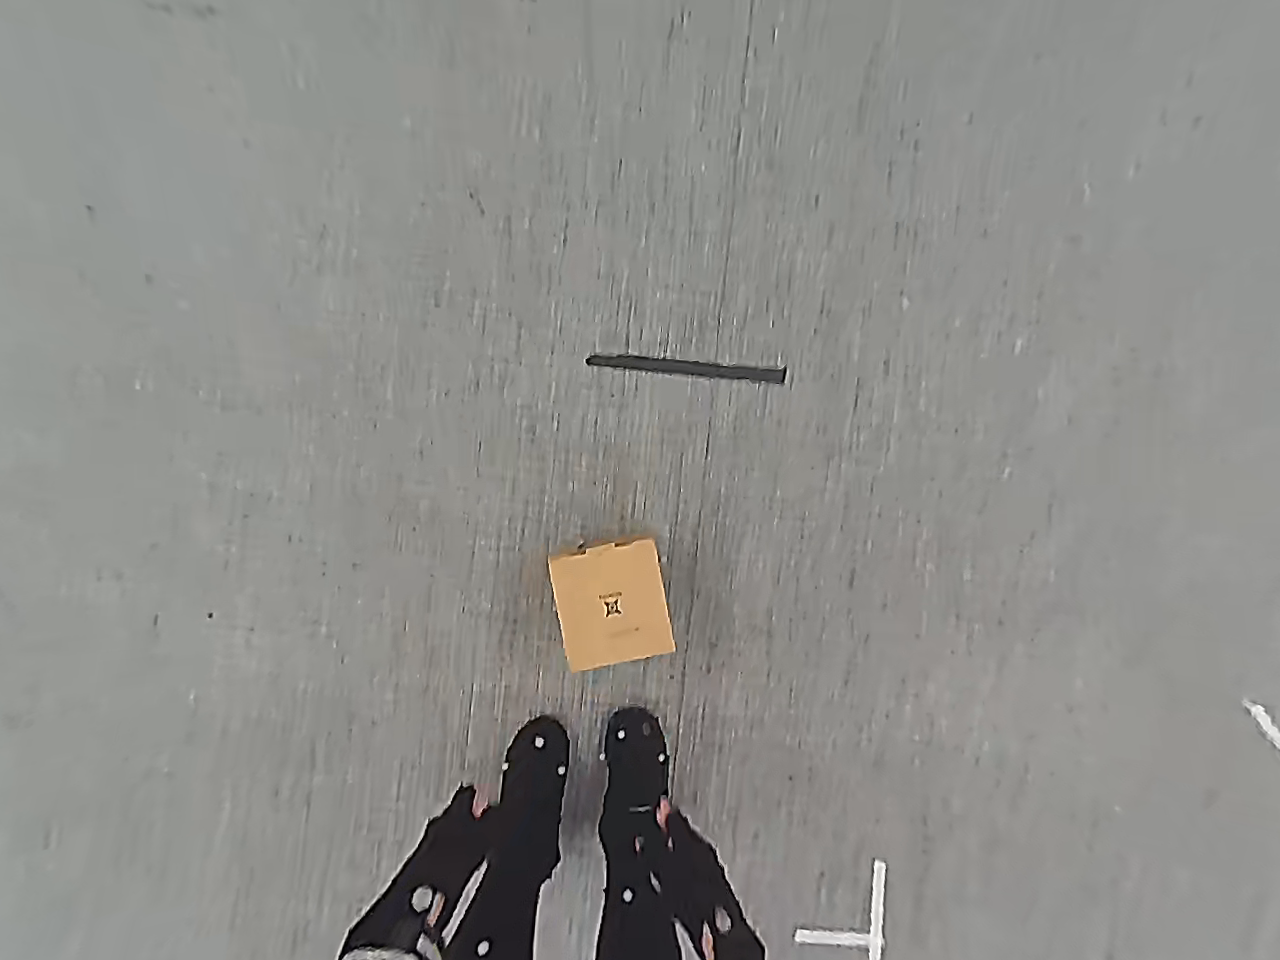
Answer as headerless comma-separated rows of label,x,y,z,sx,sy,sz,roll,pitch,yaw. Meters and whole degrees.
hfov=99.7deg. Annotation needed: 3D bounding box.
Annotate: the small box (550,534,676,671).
small box,-0.042,0.189,0.893,0.168,0.176,0.179,-13,88,0
